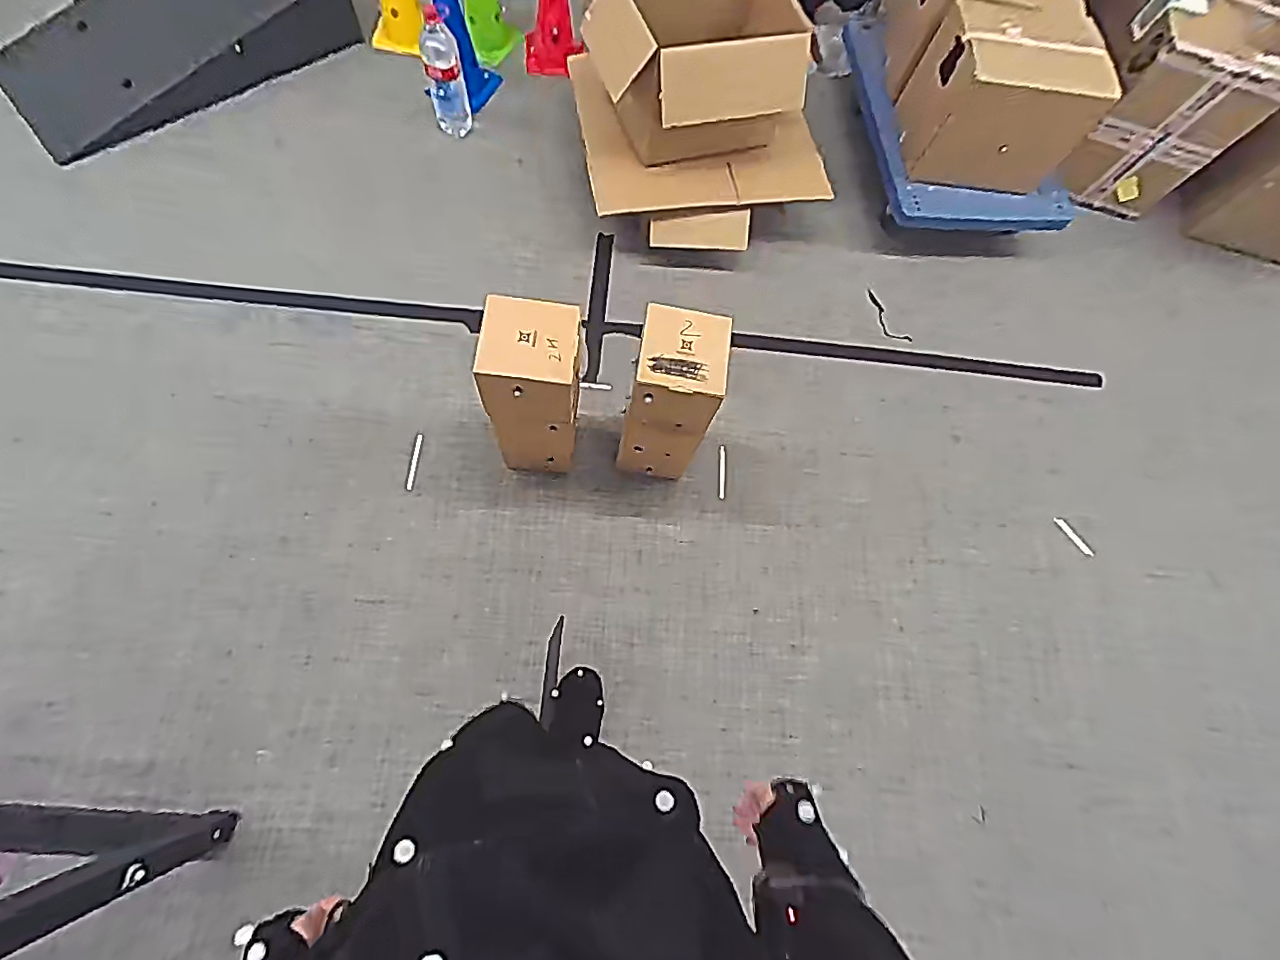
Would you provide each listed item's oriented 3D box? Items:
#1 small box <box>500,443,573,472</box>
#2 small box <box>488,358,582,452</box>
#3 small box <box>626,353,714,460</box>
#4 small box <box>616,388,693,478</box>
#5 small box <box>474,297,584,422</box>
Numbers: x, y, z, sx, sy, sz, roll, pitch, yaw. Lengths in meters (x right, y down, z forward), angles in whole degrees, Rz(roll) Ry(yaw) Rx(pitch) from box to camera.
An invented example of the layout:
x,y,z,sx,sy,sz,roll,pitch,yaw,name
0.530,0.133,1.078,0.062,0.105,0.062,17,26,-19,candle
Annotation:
x,y,z,sx,sy,sz,roll,pitch,yaw,name
-0.248,-0.129,1.352,0.168,0.176,0.179,5,70,-7,small box
-0.226,-0.172,1.196,0.179,0.176,0.168,6,71,-7,small box
0.064,-0.159,1.225,0.168,0.176,0.179,9,70,-4,small box
0.042,-0.113,1.382,0.179,0.176,0.168,10,71,-4,small box
-0.206,-0.224,1.041,0.179,0.176,0.168,6,72,-7,small box
